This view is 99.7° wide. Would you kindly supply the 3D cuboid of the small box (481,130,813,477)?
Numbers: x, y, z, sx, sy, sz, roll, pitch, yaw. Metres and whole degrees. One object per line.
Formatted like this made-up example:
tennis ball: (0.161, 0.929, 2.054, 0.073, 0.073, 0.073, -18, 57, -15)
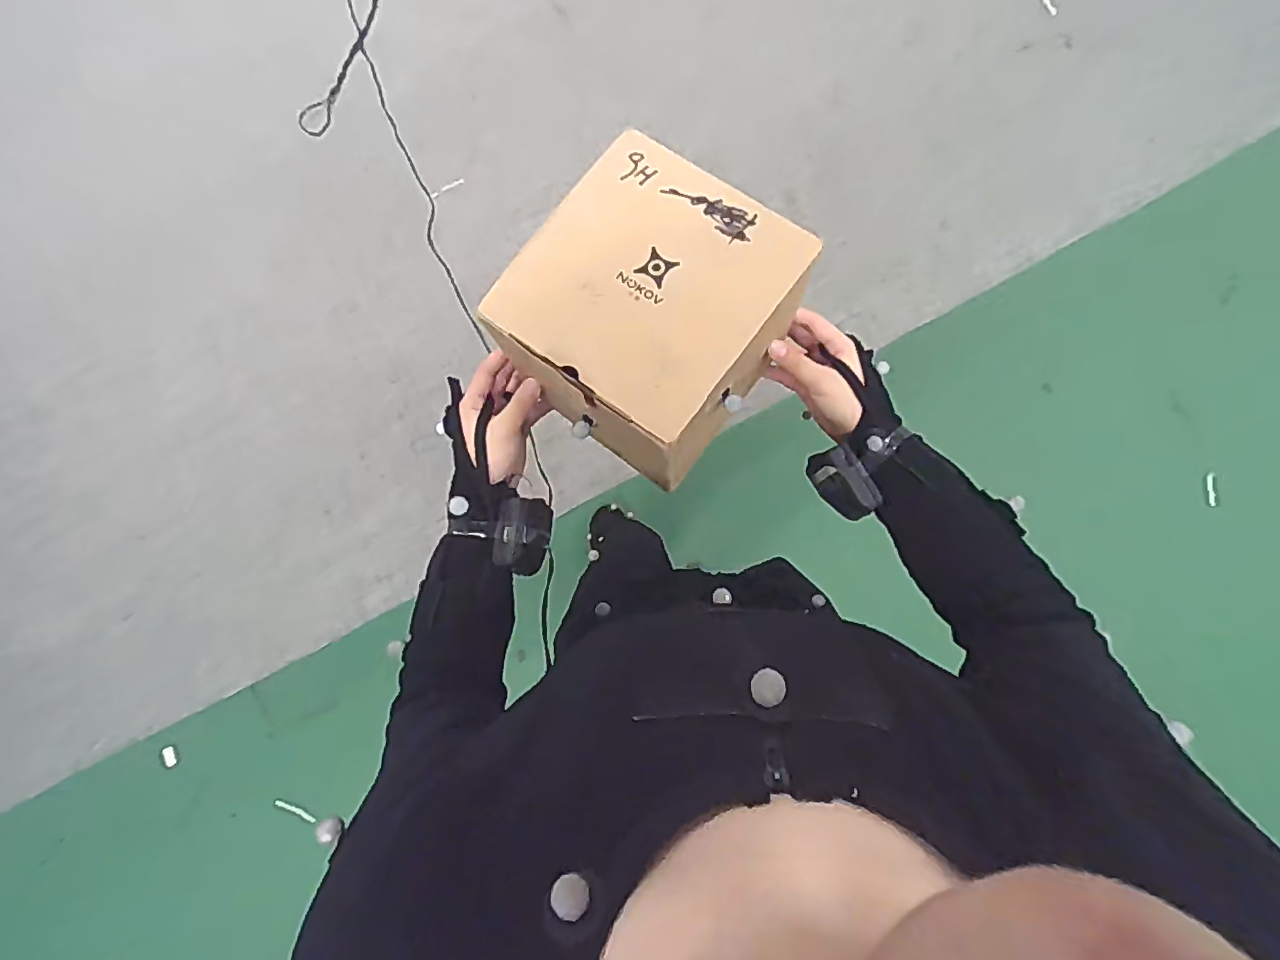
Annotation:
small box: (0.010, -0.124, 0.446, 0.168, 0.176, 0.179, 37, 84, 10)
